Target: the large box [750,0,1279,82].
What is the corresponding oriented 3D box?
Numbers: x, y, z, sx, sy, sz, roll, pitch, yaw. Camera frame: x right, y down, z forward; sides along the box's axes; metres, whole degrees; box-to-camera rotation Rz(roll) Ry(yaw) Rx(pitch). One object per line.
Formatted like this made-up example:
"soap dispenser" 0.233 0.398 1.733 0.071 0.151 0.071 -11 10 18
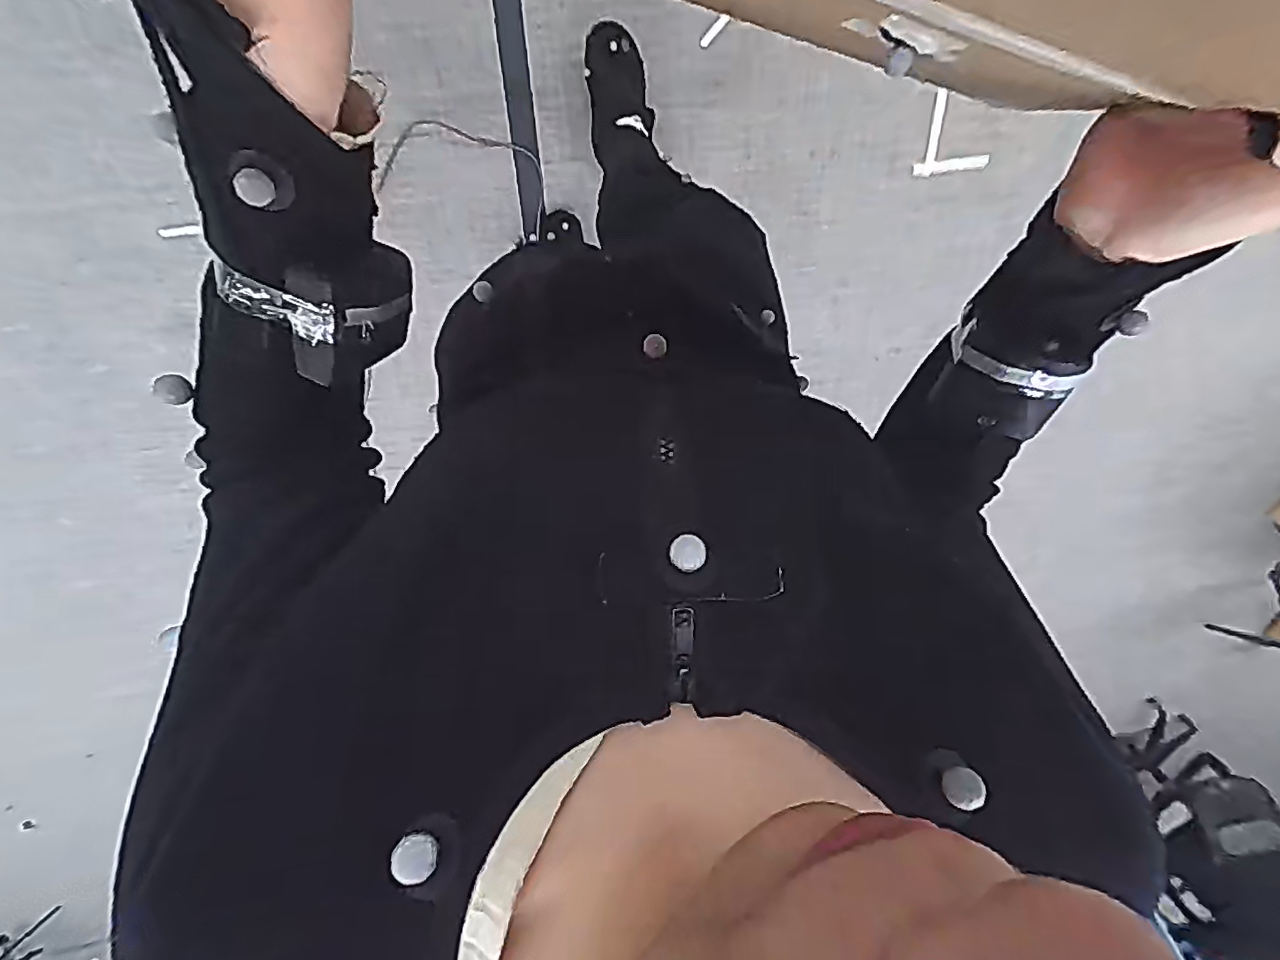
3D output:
"large box" 0.087 -0.320 0.105 0.408 0.320 0.320 6 125 -12
